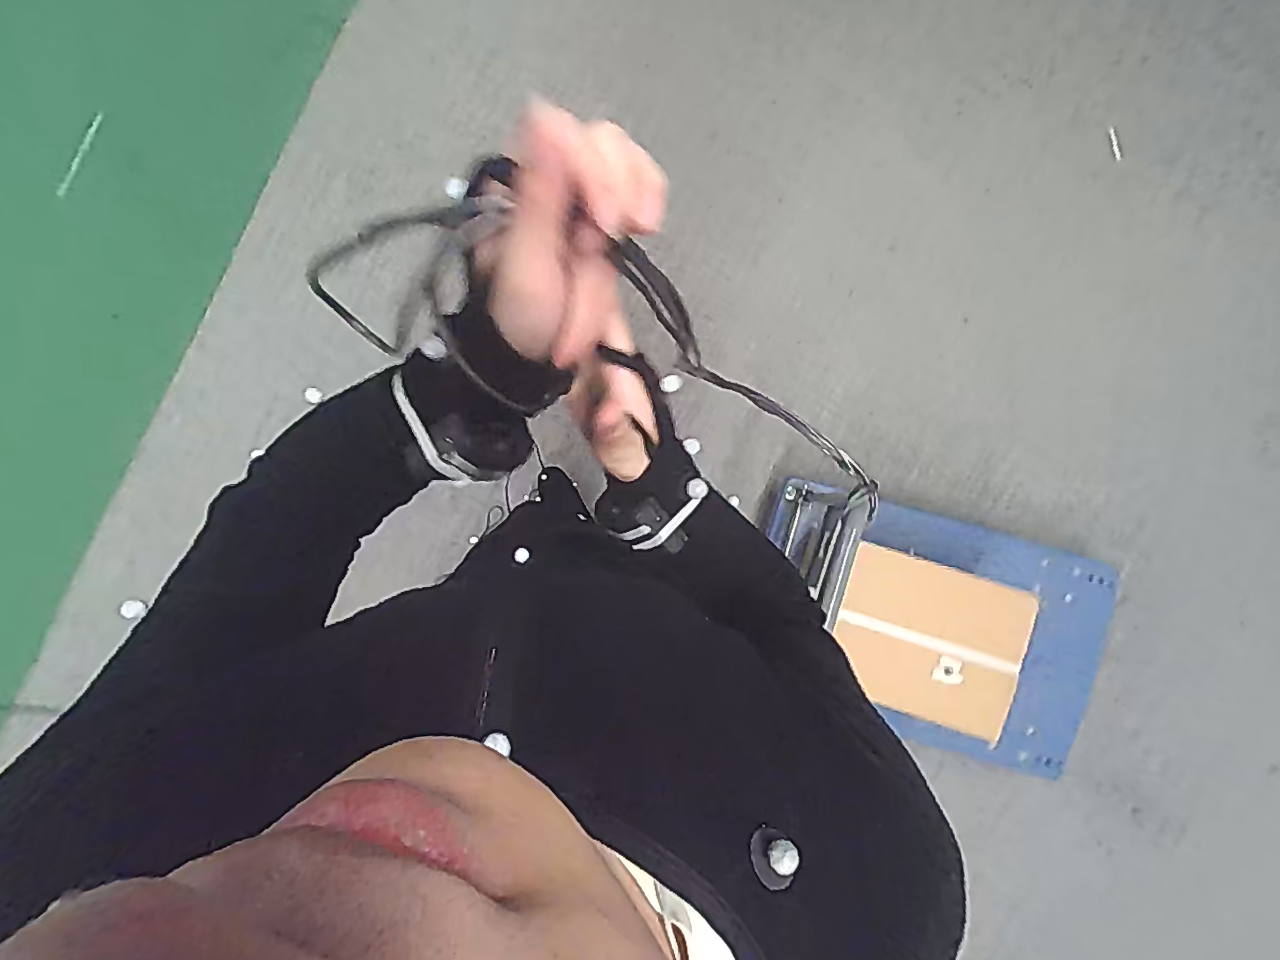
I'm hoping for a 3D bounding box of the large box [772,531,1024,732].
[{"bbox_3d":[0.572,0.326,1.278,0.408,0.320,0.320,18,90,3],"label":"large box"}]
